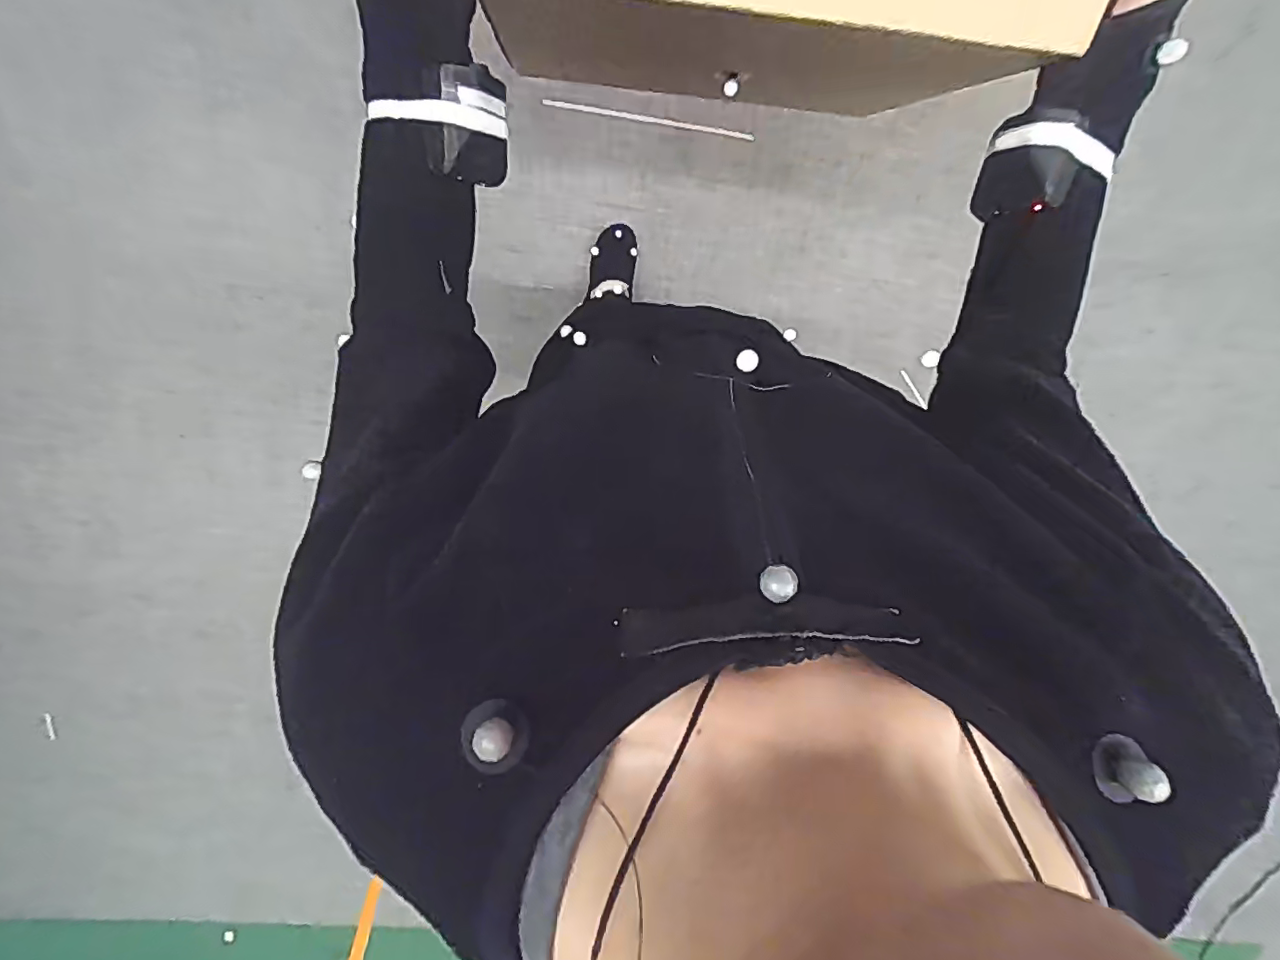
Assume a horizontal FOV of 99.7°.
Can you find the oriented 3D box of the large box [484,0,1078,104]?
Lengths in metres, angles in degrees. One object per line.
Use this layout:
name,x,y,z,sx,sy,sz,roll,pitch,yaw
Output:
large box,0.092,-0.501,0.412,0.408,0.320,0.320,1,117,-7
